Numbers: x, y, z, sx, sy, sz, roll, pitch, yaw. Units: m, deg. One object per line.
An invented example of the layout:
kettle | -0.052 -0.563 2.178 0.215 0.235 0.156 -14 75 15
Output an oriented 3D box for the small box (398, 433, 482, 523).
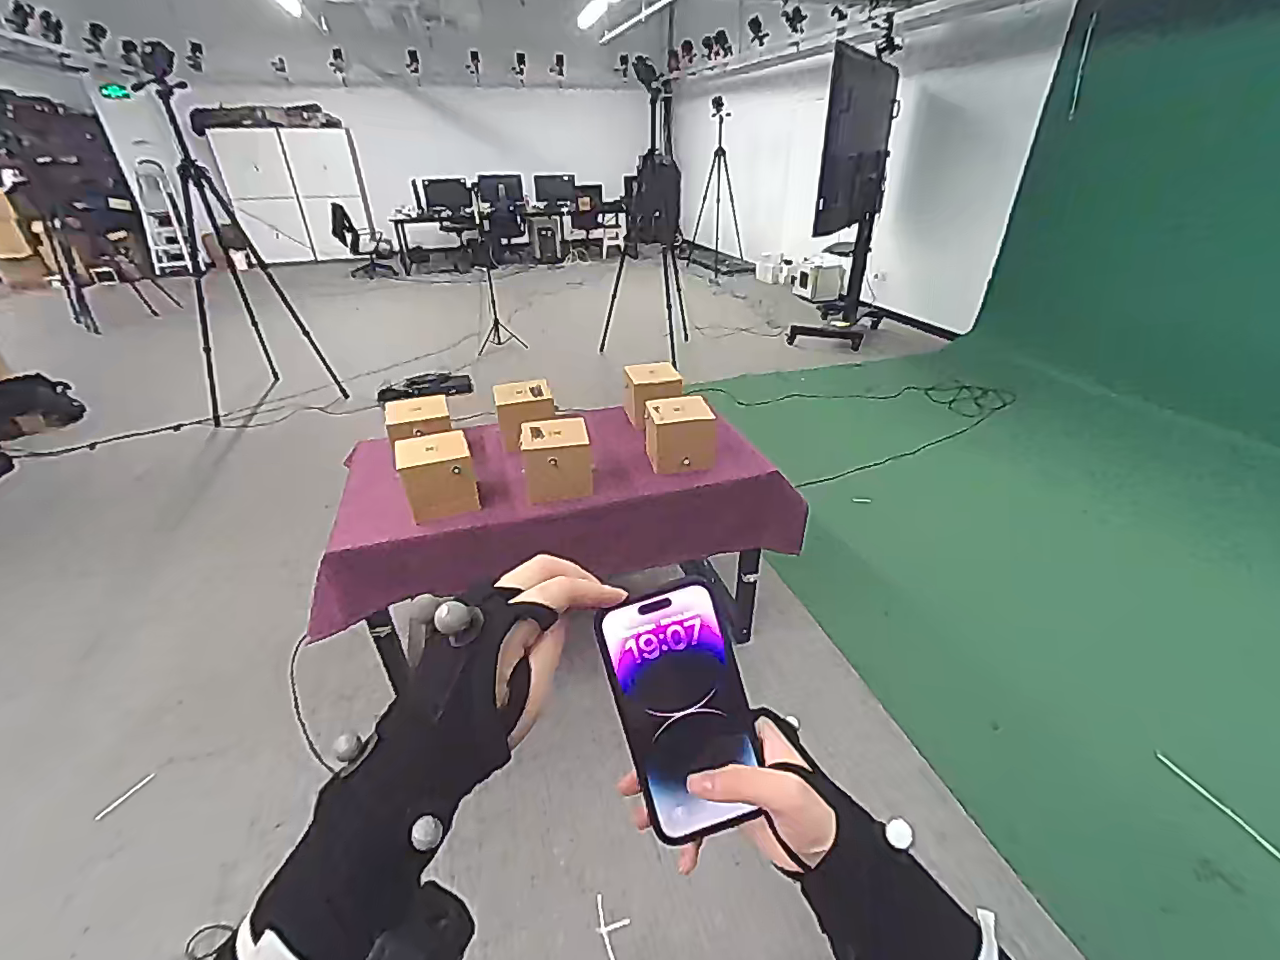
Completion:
small box | -0.528 -0.005 1.428 0.179 0.176 0.168 -12 33 -19

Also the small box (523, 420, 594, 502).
small box | -0.224 -0.051 1.491 0.179 0.176 0.168 -6 32 -9

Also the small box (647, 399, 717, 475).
small box | 0.119 -0.128 1.607 0.179 0.176 0.168 -6 31 -8

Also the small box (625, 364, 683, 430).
small box | 0.044 -0.287 1.867 0.168 0.176 0.179 -8 33 -10
